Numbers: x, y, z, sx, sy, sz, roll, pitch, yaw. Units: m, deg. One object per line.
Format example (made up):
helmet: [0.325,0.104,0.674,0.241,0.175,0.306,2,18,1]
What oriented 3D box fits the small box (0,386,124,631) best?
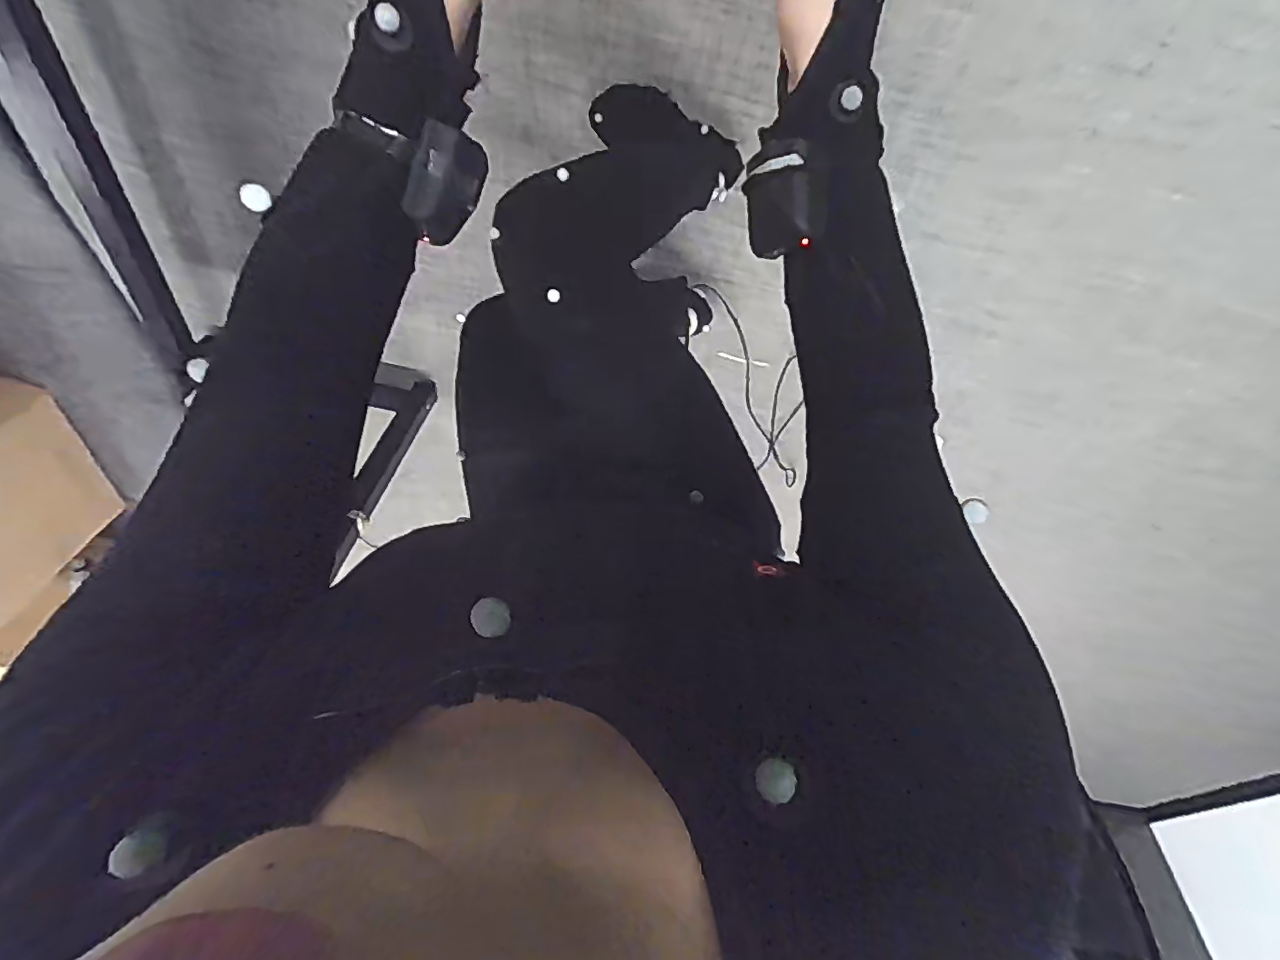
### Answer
small box: [-0.629,0.010,0.475,0.168,0.176,0.179,18,137,-7]
